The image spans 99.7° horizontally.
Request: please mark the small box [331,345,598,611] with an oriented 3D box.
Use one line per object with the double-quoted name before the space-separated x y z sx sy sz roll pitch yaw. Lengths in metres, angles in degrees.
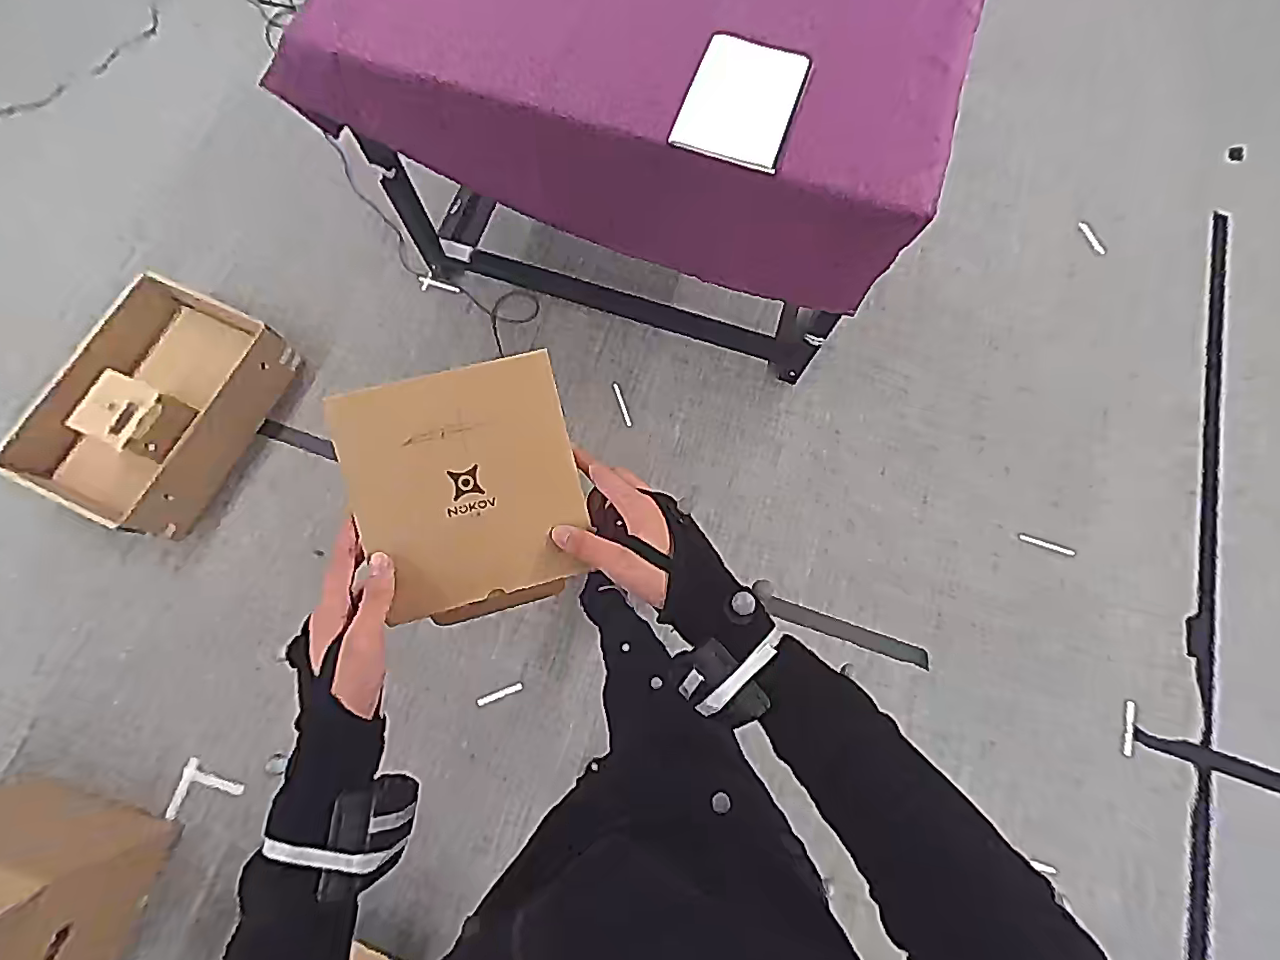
"small box" -0.138 -0.006 0.485 0.168 0.176 0.179 -14 94 -8
